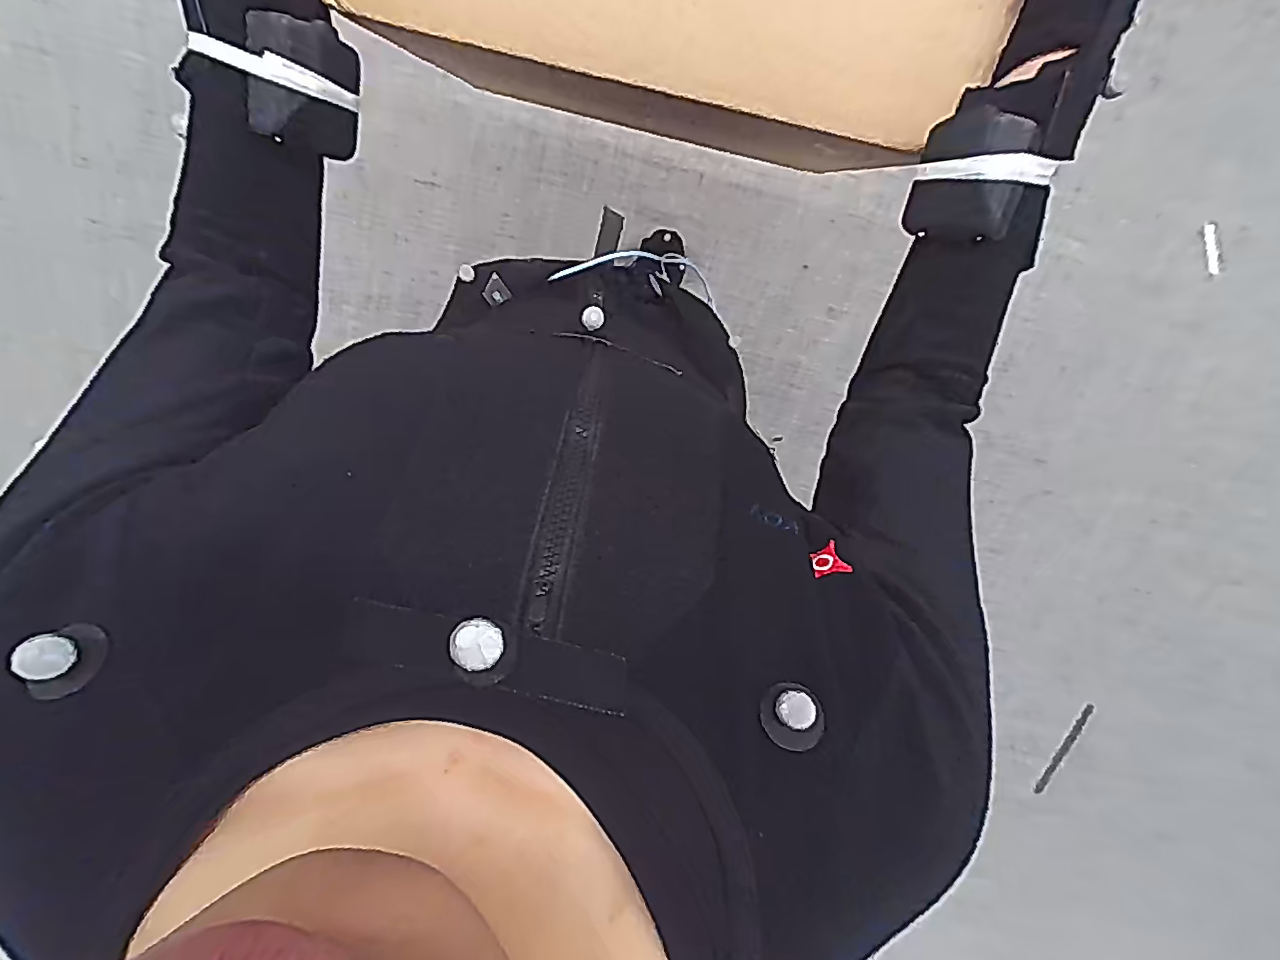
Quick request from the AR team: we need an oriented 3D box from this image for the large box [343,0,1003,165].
[{"bbox_3d":[0.038,-0.455,0.407,0.408,0.320,0.320,10,119,-5],"label":"large box"}]
